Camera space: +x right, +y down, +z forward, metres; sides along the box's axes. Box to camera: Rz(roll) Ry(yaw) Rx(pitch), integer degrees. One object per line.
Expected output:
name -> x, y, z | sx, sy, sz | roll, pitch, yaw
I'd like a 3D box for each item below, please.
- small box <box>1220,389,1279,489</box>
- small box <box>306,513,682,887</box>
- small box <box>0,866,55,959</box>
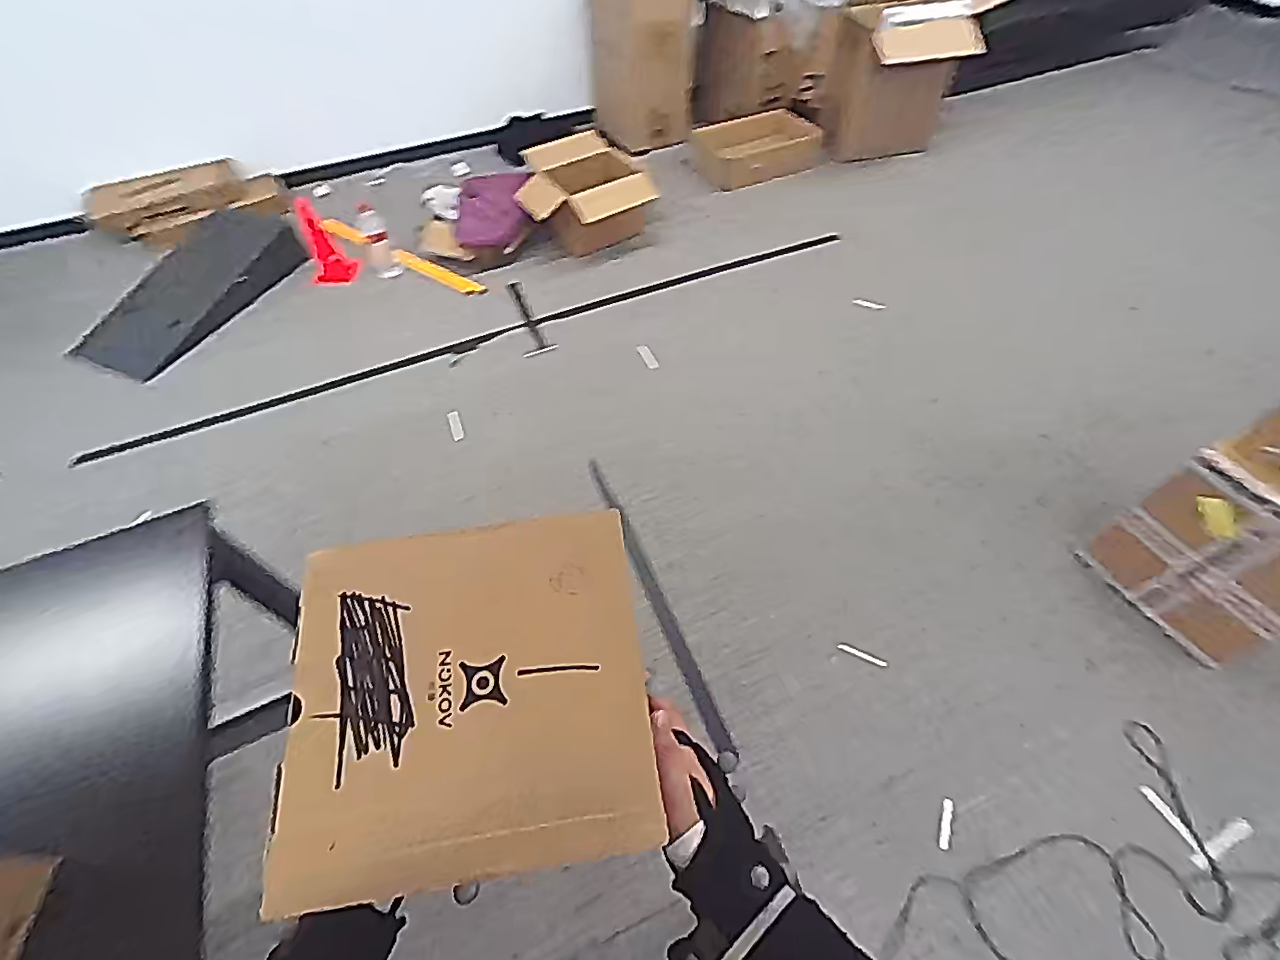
small box -> 1.426, -0.107, 1.152 | 0.179, 0.176, 0.168 | -24, 54, -9
small box -> -0.073, 0.137, 0.352 | 0.179, 0.176, 0.168 | -7, 64, -3
small box -> -0.752, 0.479, 0.519 | 0.179, 0.176, 0.168 | -7, 53, -1
